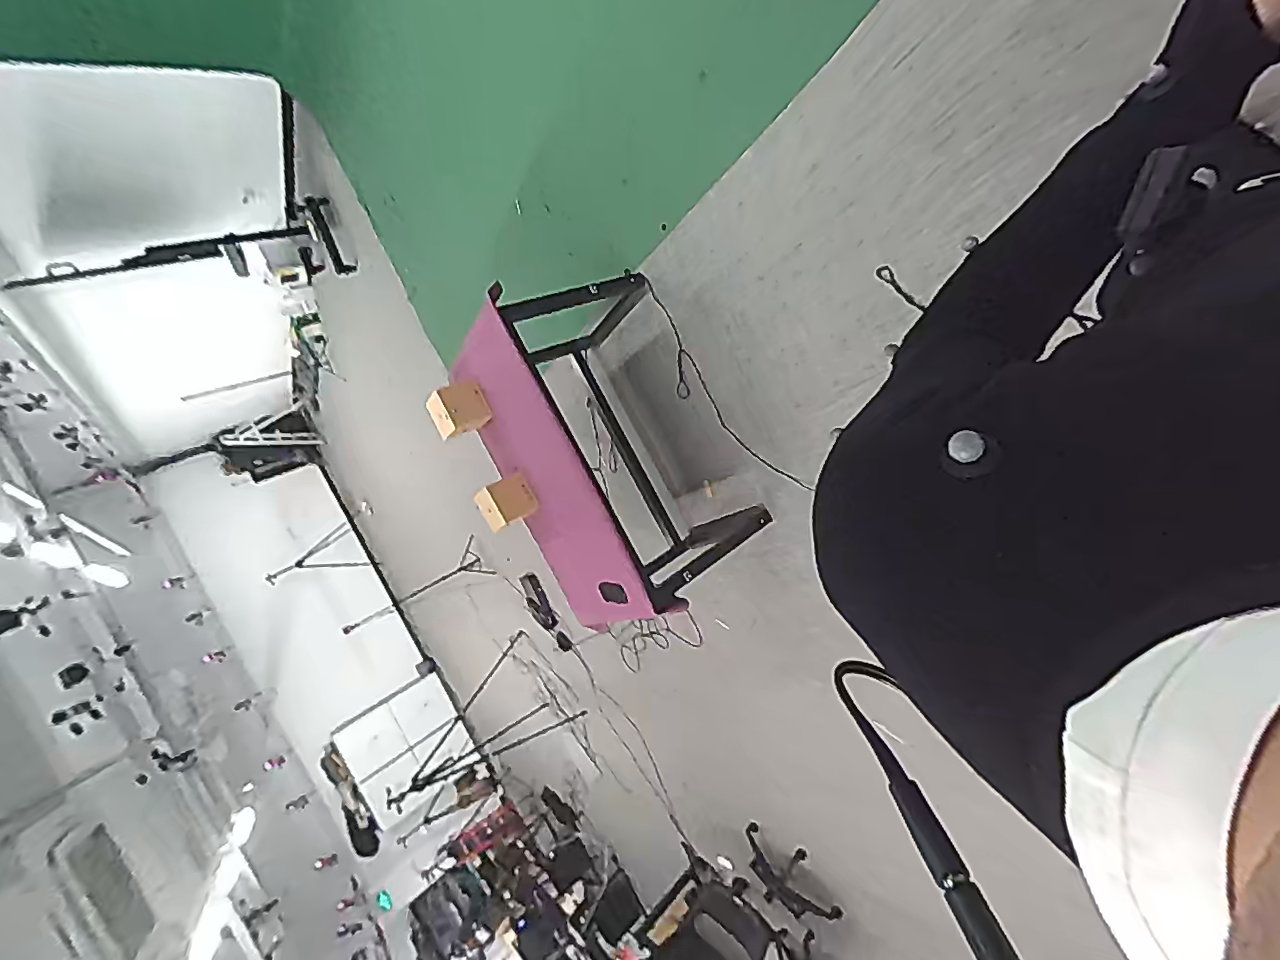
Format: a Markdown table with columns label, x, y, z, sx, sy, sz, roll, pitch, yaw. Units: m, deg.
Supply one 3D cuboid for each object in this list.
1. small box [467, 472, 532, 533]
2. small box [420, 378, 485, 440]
| label | x | y | z | sx | sy | sz | roll | pitch | yaw |
| --- | --- | --- | --- | --- | --- | --- | --- | --- | --- |
| small box | -0.556 | 0.088 | 2.153 | 0.179 | 0.176 | 0.168 | -28 | 91 | 53 |
| small box | -0.736 | -0.281 | 2.131 | 0.179 | 0.176 | 0.168 | -23 | 95 | 54 |
